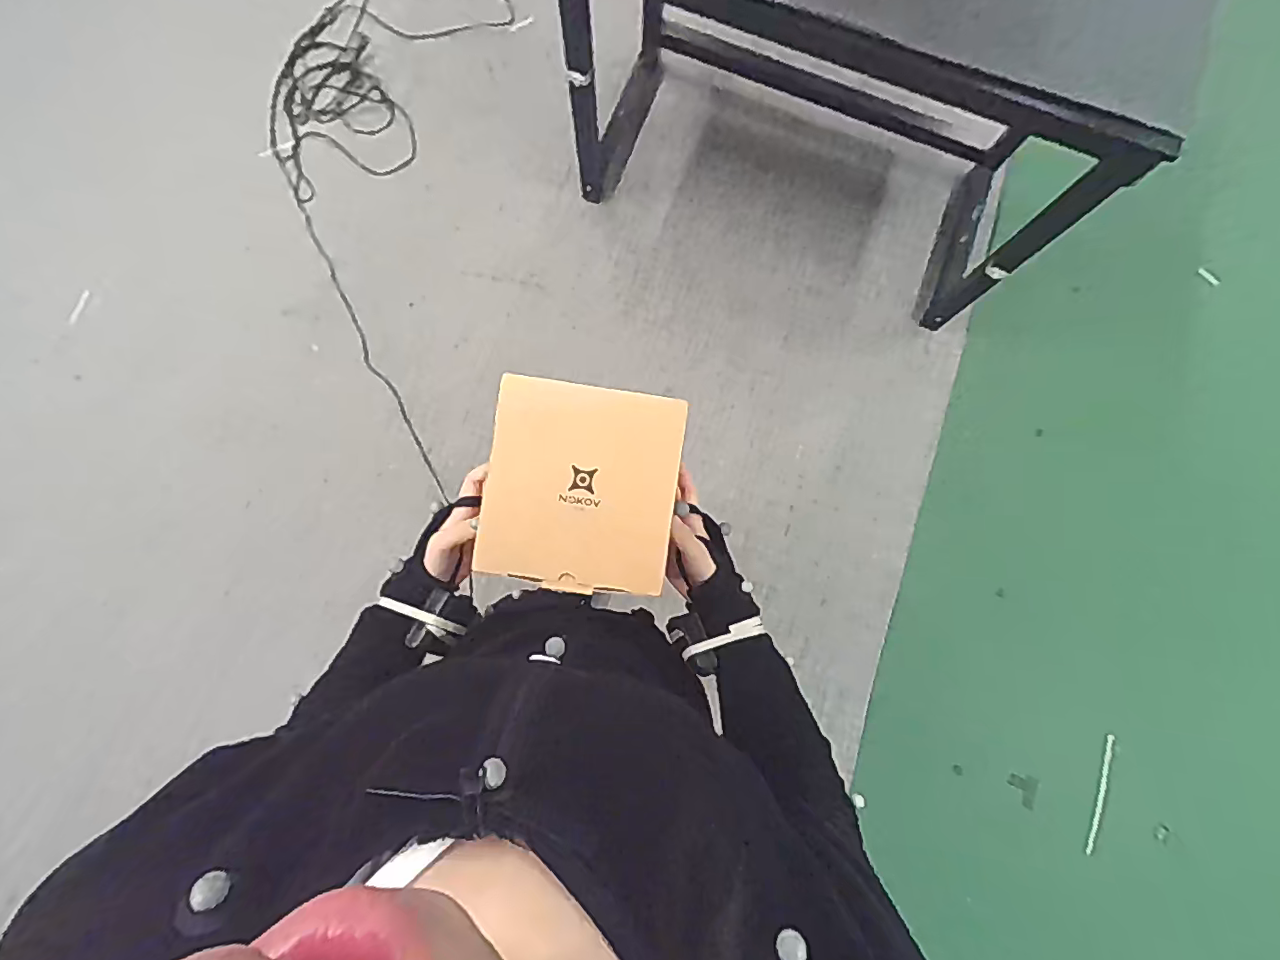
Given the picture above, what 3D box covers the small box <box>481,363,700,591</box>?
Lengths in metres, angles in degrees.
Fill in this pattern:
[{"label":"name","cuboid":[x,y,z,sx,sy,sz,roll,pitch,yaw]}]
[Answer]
[{"label":"small box","cuboid":[-0.046,0.000,0.539,0.168,0.176,0.179,9,88,-3]}]
